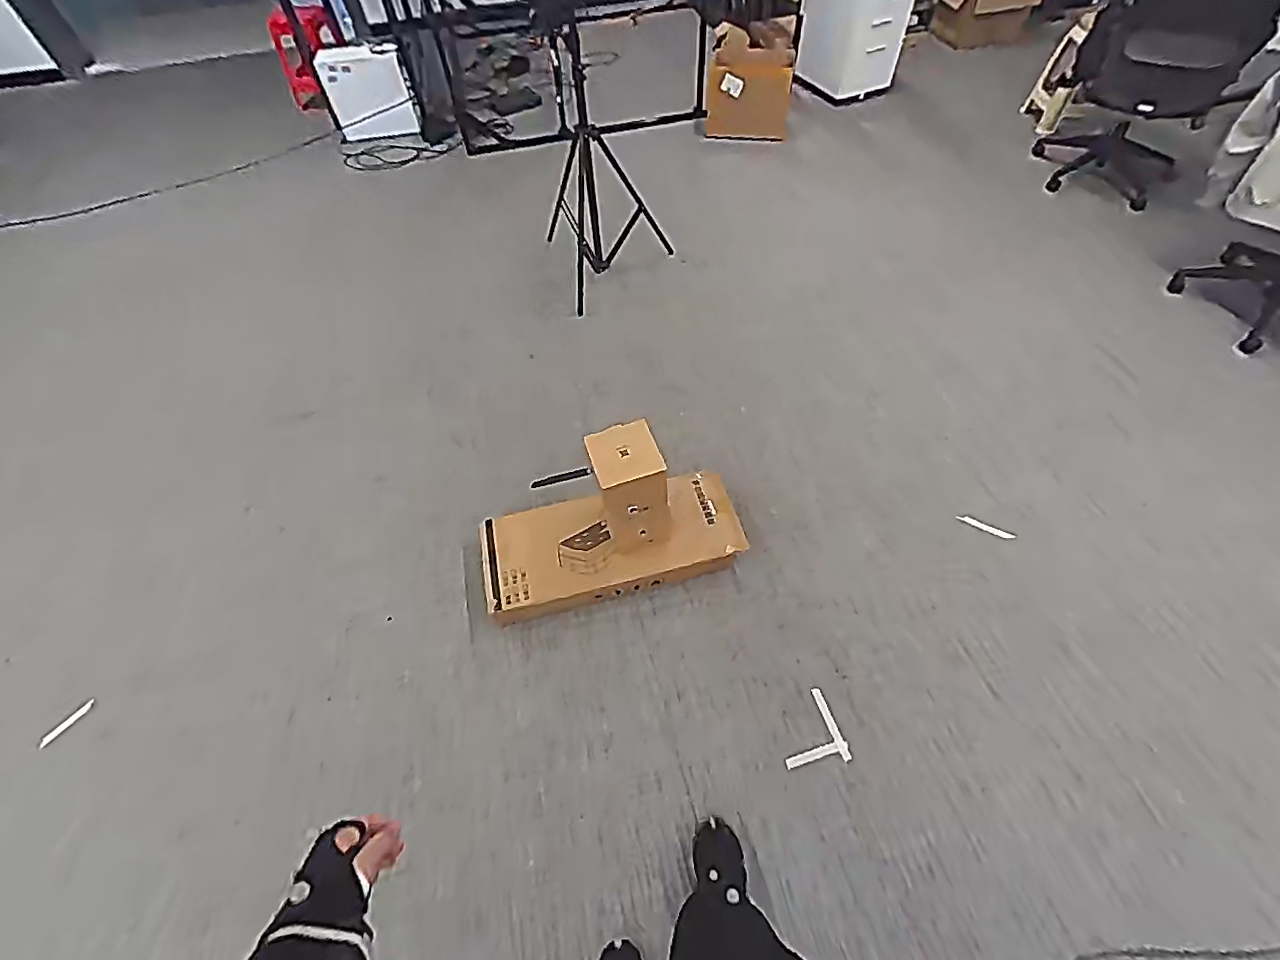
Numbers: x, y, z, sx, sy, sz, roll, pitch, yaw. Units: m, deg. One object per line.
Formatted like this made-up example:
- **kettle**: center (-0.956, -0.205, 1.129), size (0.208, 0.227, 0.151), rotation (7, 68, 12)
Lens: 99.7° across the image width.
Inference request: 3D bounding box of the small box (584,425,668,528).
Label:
- **small box**: center (-0.035, -0.007, 1.379), size (0.168, 0.176, 0.179), rotation (-18, 56, -9)

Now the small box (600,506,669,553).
- **small box**: center (-0.019, 0.087, 1.513), size (0.168, 0.176, 0.179), rotation (-15, 56, -8)
